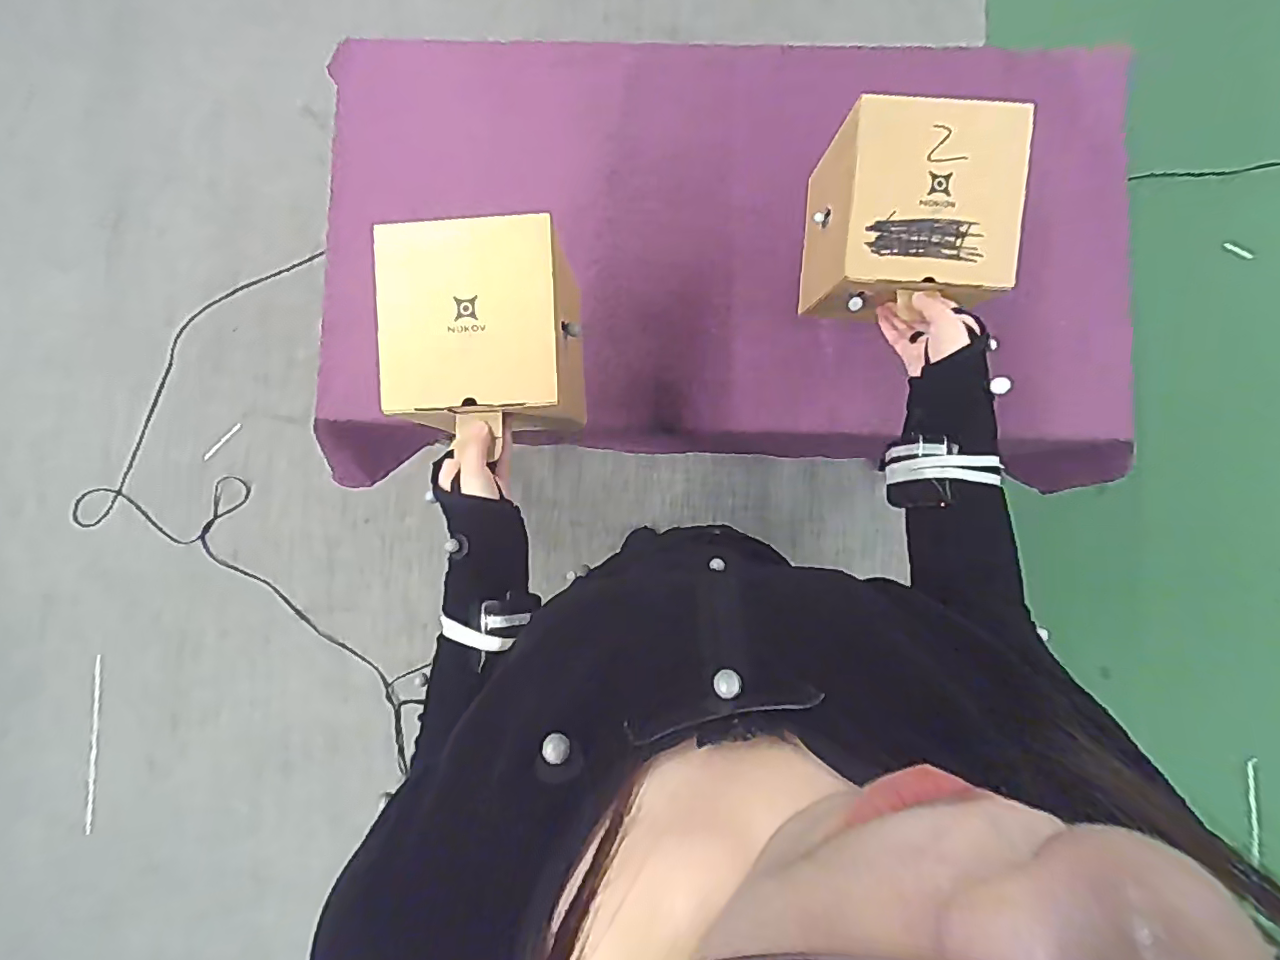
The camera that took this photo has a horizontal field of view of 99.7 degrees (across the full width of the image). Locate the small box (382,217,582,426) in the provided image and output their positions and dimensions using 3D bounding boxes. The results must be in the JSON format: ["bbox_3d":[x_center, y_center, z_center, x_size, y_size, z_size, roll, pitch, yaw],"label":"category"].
[{"bbox_3d":[-0.157,-0.157,0.586,0.168,0.176,0.179,-2,90,3],"label":"small box"}]
